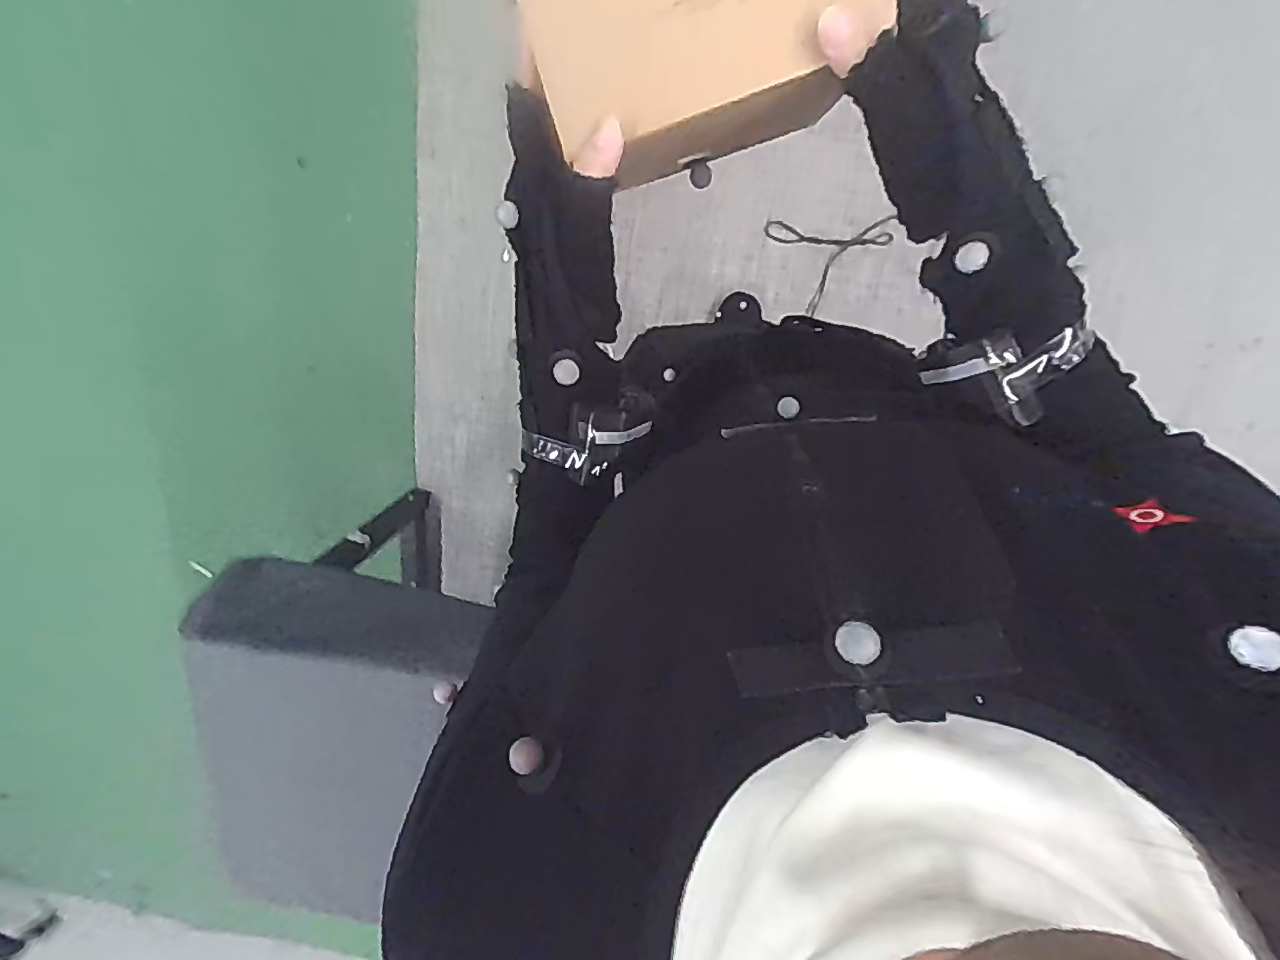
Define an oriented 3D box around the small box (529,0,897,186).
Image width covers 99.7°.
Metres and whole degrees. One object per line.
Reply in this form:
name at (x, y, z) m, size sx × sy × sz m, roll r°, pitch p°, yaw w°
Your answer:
small box at (0.024, -0.294, 0.309) m, size 0.168 × 0.176 × 0.179 m, roll -14°, pitch 110°, yaw 10°
